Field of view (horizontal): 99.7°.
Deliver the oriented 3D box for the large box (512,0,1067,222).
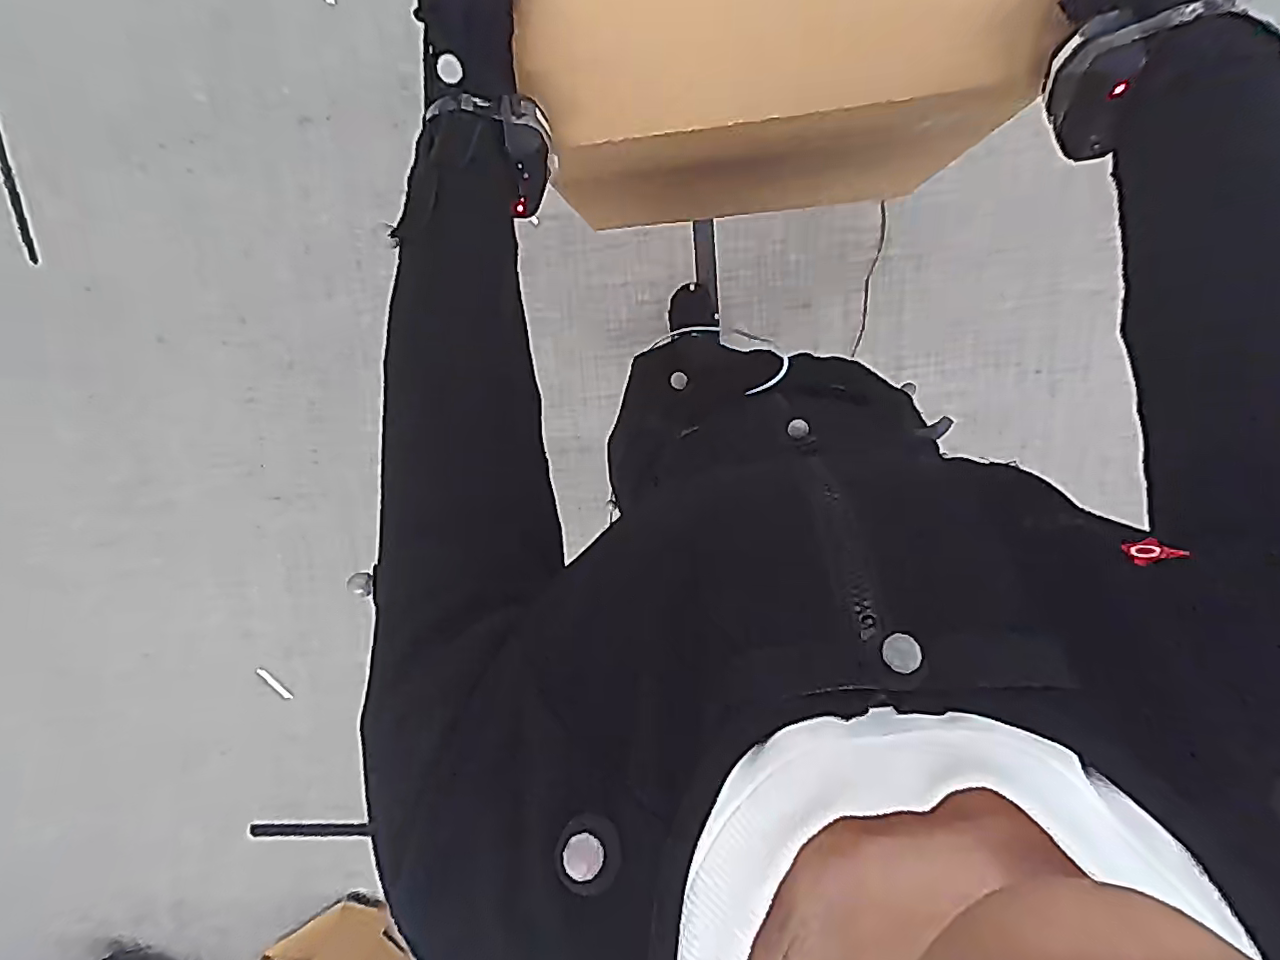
[{"bbox_3d":[0.104,-0.471,0.521,0.408,0.320,0.320,-4,104,6],"label":"large box"}]
